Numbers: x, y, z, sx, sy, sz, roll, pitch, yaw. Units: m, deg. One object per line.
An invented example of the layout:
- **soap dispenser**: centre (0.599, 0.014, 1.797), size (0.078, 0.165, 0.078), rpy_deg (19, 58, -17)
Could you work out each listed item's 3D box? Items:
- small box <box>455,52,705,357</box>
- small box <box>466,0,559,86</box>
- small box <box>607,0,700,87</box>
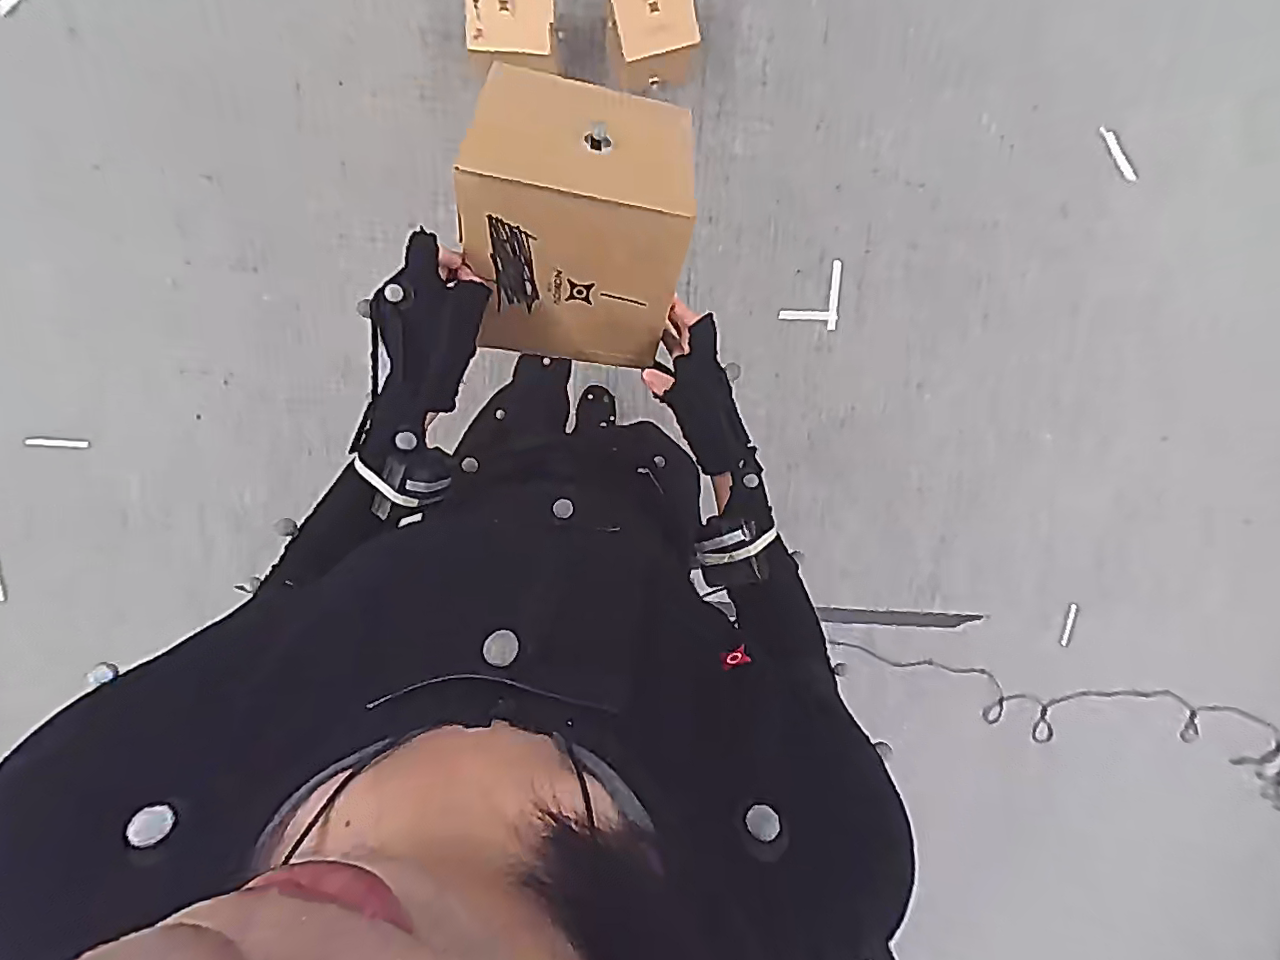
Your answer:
- **small box**: centre (-0.053, -0.239, 0.479), size (0.179, 0.168, 0.176), rpy_deg (7, 58, -9)
- **small box**: centre (-0.272, -0.979, 1.185), size (0.179, 0.176, 0.168), rpy_deg (2, 103, -3)
- **small box**: centre (0.024, -0.995, 1.196), size (0.168, 0.176, 0.179), rpy_deg (-15, 104, 2)
